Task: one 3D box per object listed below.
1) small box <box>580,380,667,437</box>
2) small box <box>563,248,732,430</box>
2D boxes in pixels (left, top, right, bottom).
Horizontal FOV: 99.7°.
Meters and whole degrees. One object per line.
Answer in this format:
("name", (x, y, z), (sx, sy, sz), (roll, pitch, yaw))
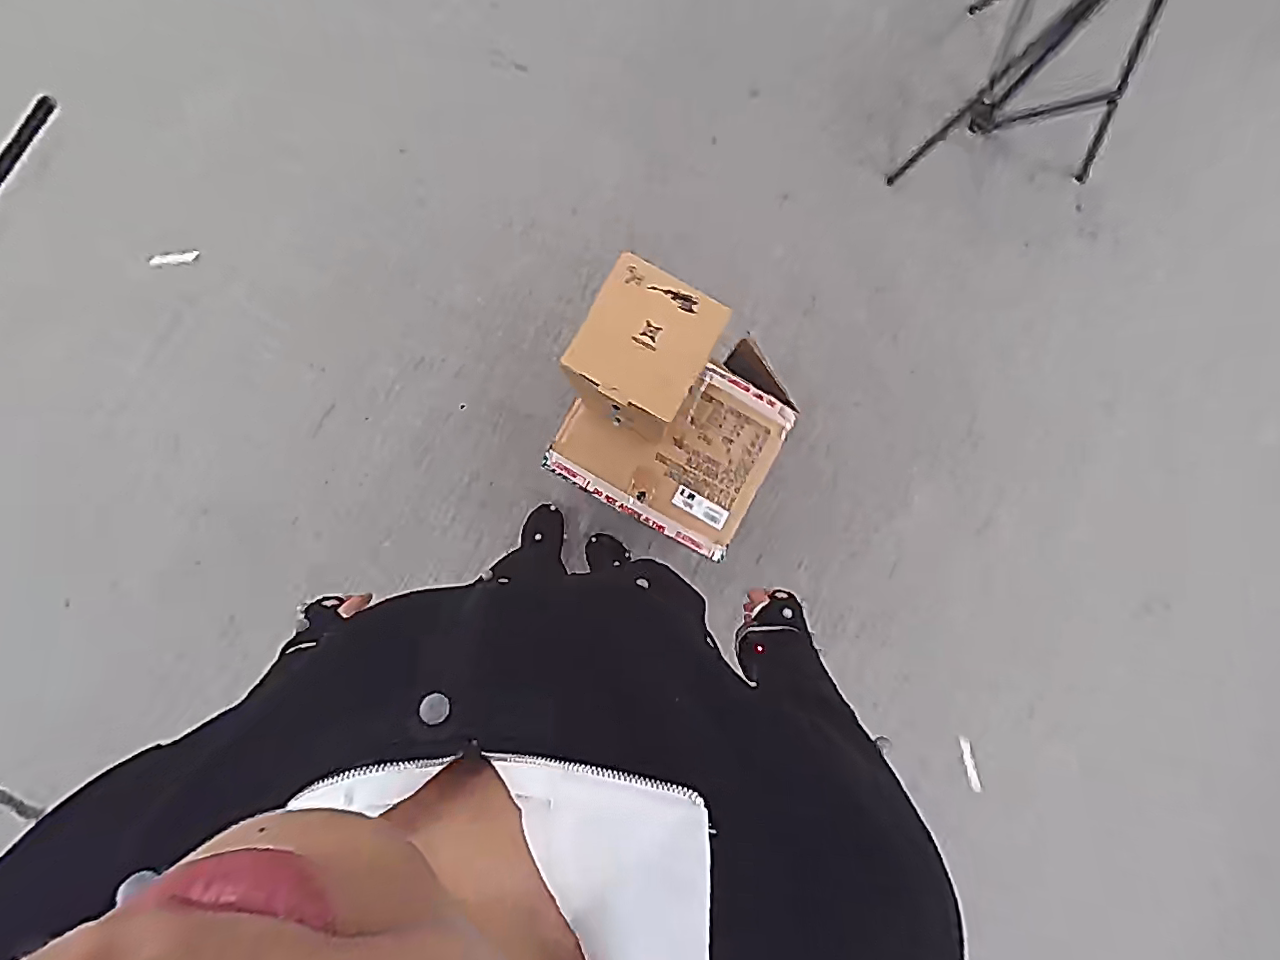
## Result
("small box", (0.010, -0.193, 0.948), (0.168, 0.176, 0.179), (28, 88, 1))
("small box", (0.012, -0.188, 0.783), (0.168, 0.176, 0.179), (30, 89, 1))
